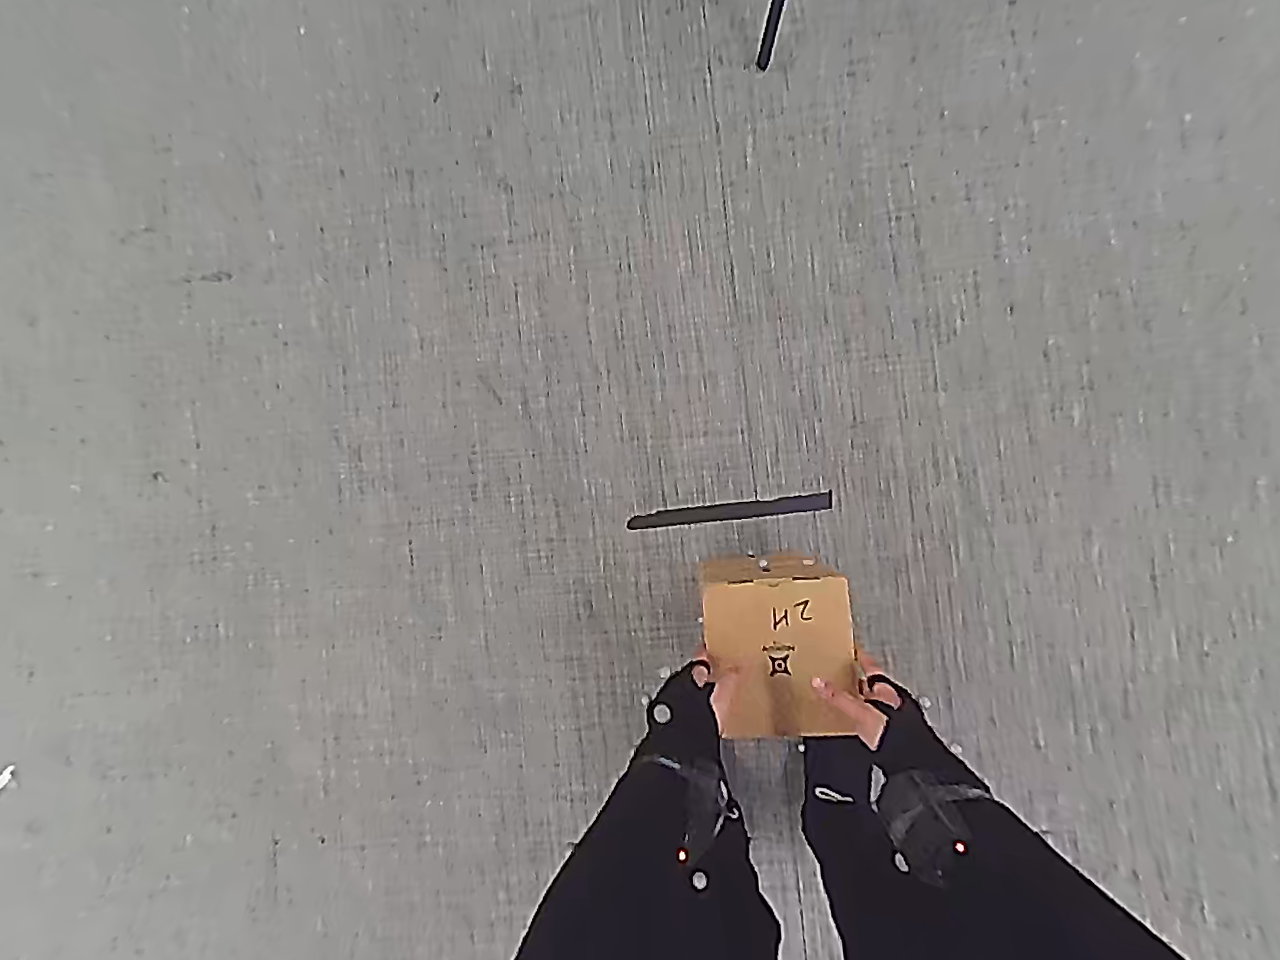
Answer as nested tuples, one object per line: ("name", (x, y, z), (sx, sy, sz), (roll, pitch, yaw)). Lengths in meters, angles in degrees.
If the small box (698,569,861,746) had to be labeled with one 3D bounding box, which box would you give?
("small box", (0.164, 0.211, 0.680), (0.168, 0.176, 0.179), (-6, 83, 6))
